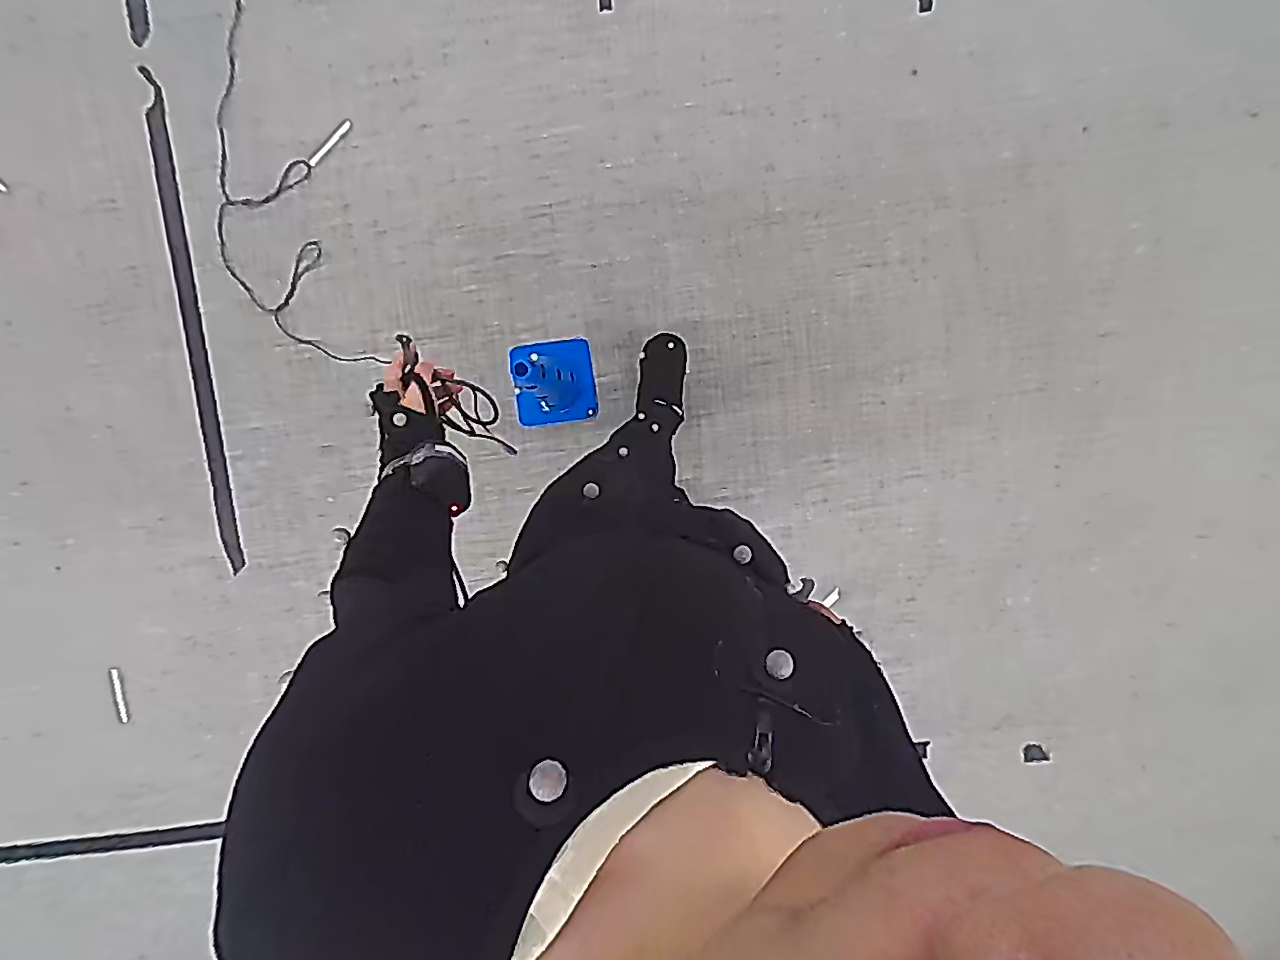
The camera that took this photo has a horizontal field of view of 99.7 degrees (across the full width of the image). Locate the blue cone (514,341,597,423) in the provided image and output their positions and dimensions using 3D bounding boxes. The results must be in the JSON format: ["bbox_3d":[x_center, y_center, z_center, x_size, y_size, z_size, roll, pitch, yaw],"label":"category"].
[{"bbox_3d":[-0.209,-0.223,1.170,0.192,0.380,0.193,-6,96,0],"label":"blue cone"}]
